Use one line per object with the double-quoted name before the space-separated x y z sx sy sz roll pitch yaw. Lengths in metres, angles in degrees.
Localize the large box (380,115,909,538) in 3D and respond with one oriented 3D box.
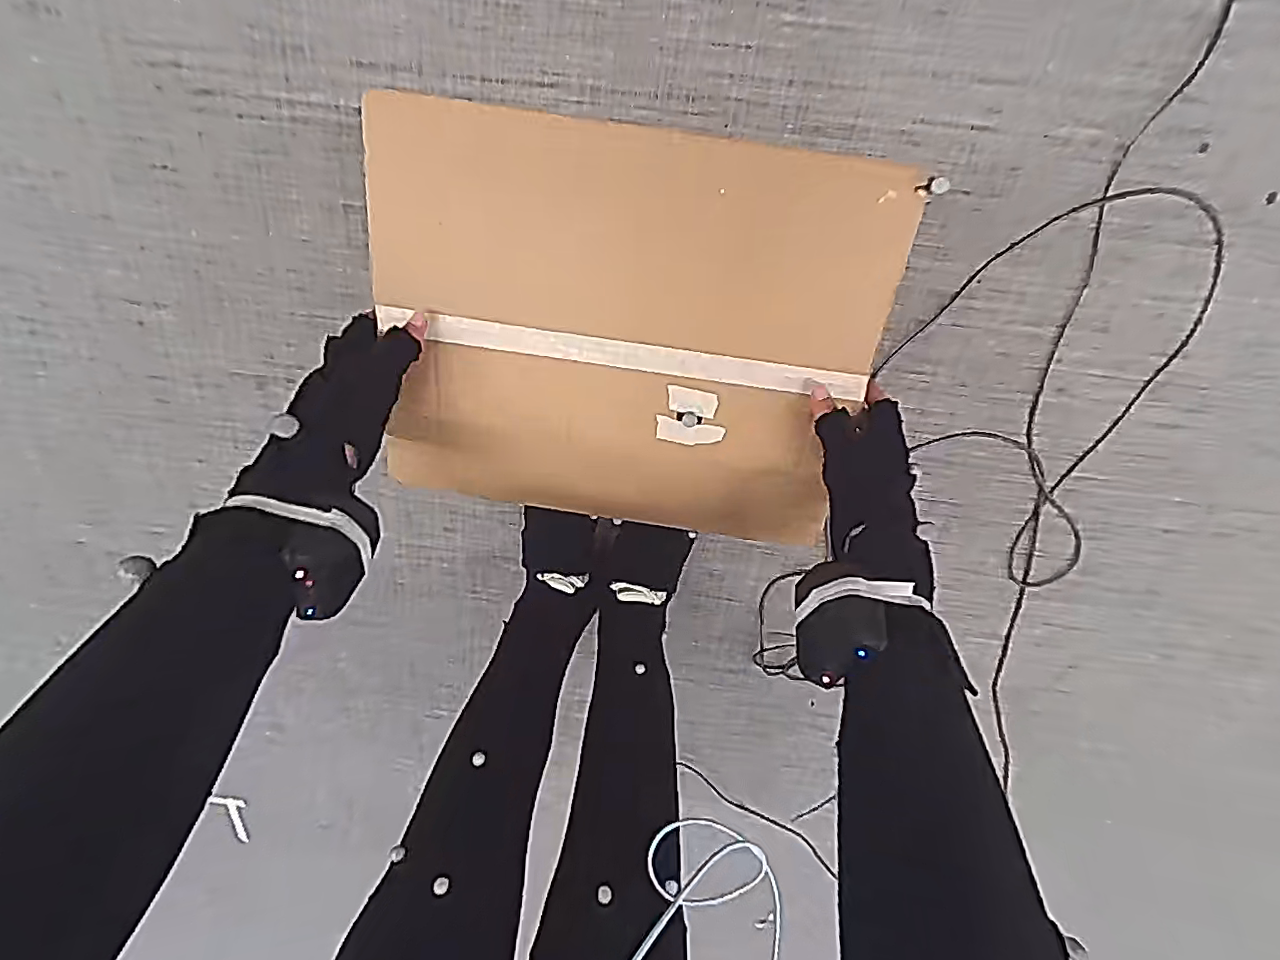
"large box" -0.007 -0.166 0.594 0.408 0.320 0.320 8 115 0
